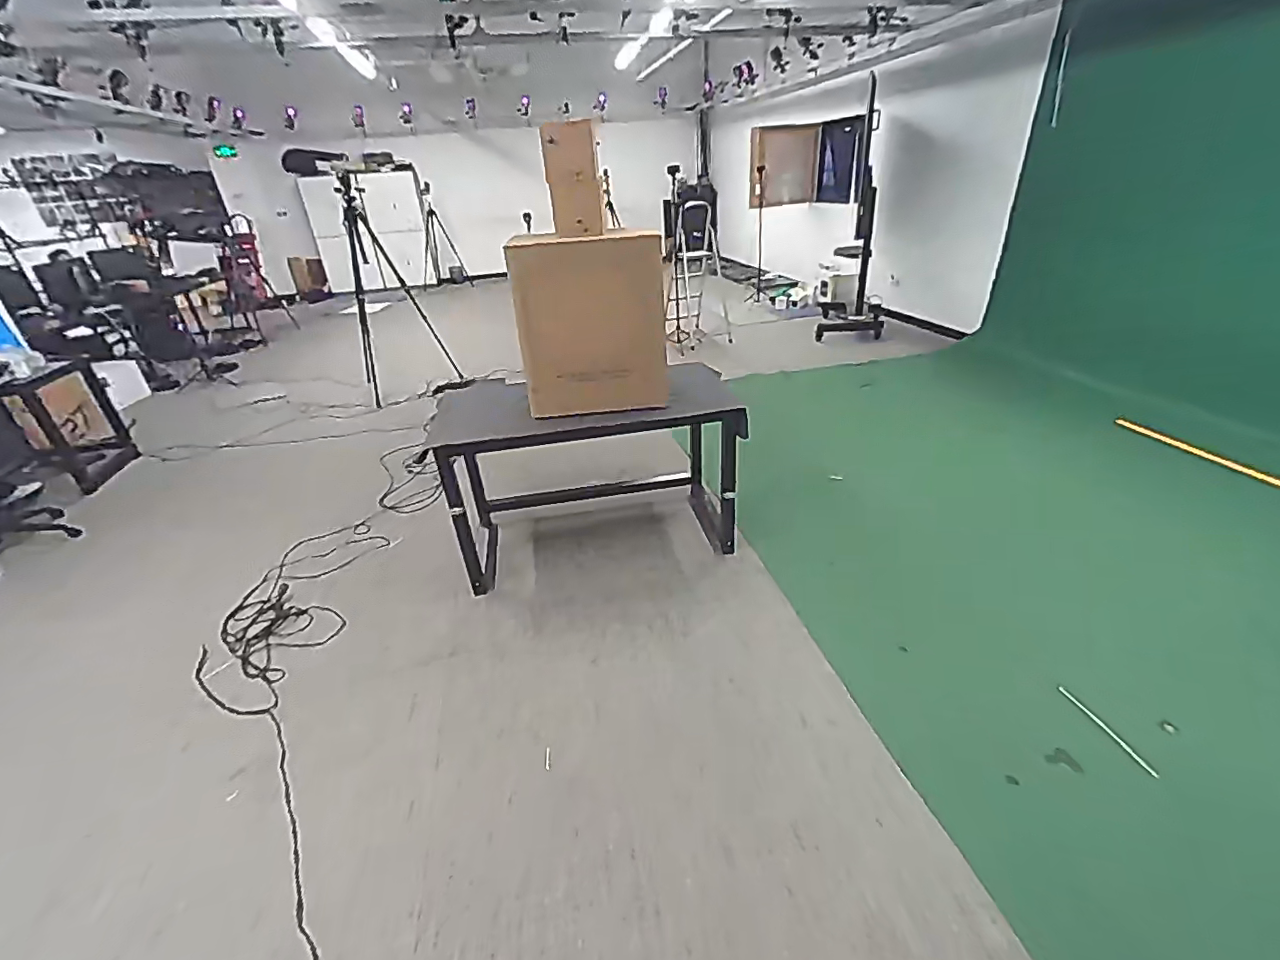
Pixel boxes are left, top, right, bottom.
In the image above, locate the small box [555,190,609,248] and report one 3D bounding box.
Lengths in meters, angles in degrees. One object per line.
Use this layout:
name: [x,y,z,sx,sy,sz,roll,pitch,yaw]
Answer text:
small box: [-0.197,-0.914,1.892,0.168,0.176,0.179,-2,31,2]
